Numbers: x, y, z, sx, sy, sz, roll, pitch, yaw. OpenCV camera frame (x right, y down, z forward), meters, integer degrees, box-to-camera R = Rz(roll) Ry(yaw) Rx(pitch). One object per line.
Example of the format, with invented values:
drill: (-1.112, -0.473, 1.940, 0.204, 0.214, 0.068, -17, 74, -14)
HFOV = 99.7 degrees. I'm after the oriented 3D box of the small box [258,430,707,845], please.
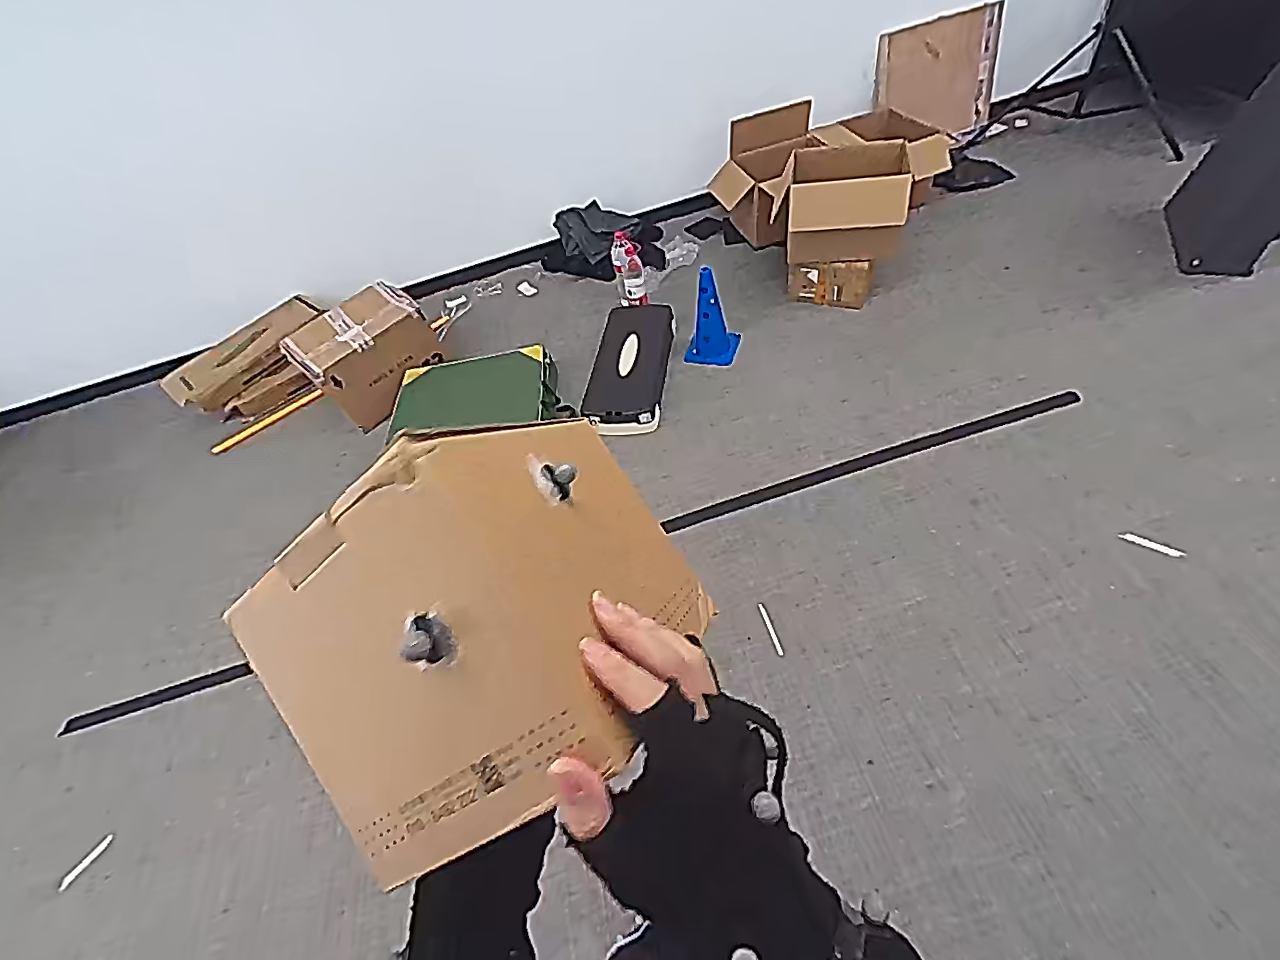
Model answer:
small box: (-0.081, 0.090, 0.342, 0.168, 0.179, 0.176, -38, 84, 24)
